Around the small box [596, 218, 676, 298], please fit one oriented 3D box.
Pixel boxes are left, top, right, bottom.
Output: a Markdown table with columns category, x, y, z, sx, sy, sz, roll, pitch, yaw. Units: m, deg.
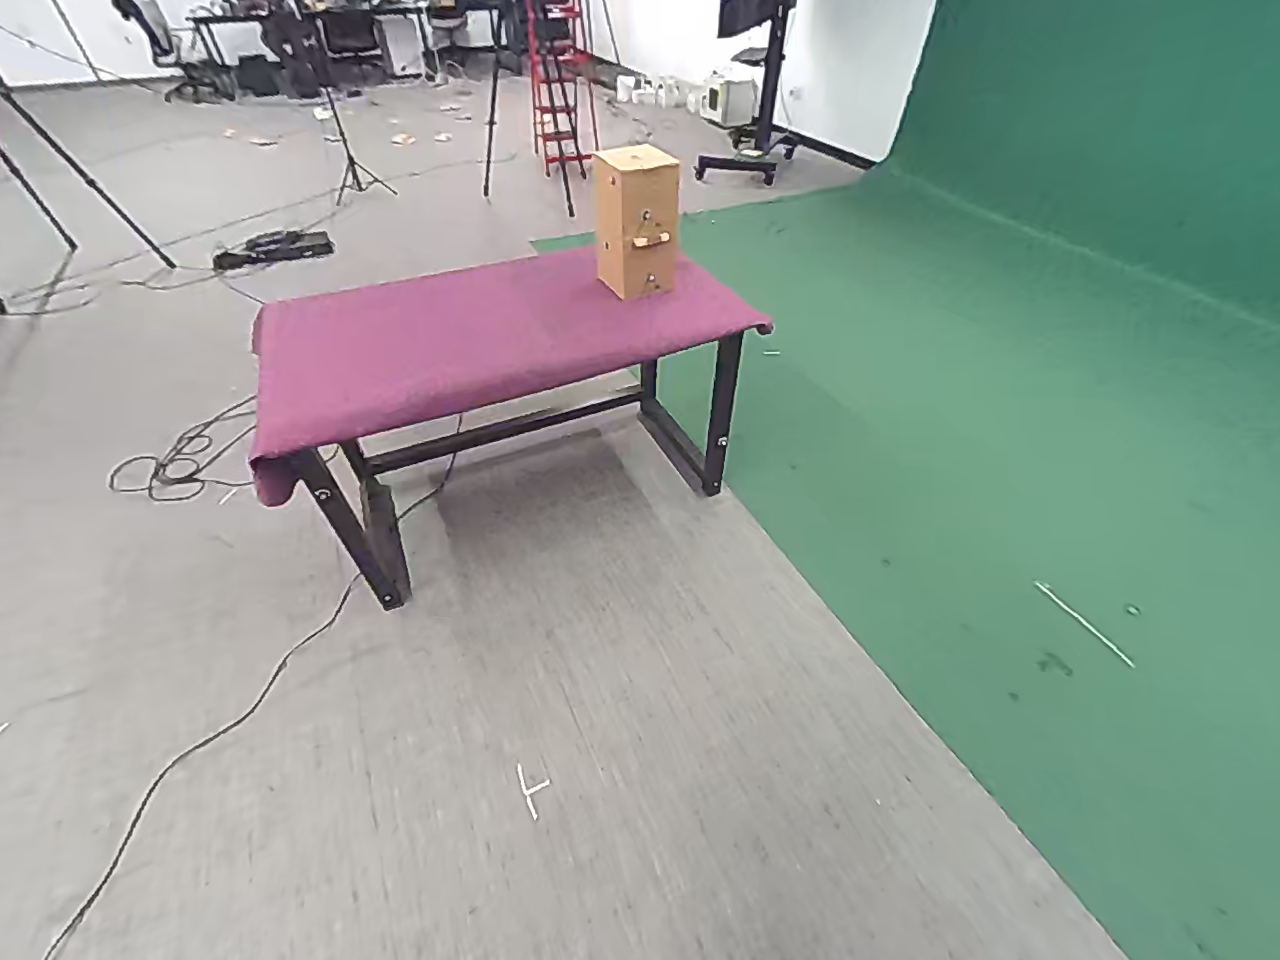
| category | x | y | z | sx | sy | sz | roll | pitch | yaw |
| --- | --- | --- | --- | --- | --- | --- | --- | --- | --- |
| small box | -0.013 | -0.638 | 1.526 | 0.168 | 0.176 | 0.179 | -21 | 50 | -19 |

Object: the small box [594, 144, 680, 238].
| category | x | y | z | sx | sy | sz | roll | pitch | yaw |
| --- | --- | --- | --- | --- | --- | --- | --- | --- | --- |
| small box | -0.012 | -0.755 | 1.413 | 0.168 | 0.176 | 0.179 | -21 | 50 | -19 |
